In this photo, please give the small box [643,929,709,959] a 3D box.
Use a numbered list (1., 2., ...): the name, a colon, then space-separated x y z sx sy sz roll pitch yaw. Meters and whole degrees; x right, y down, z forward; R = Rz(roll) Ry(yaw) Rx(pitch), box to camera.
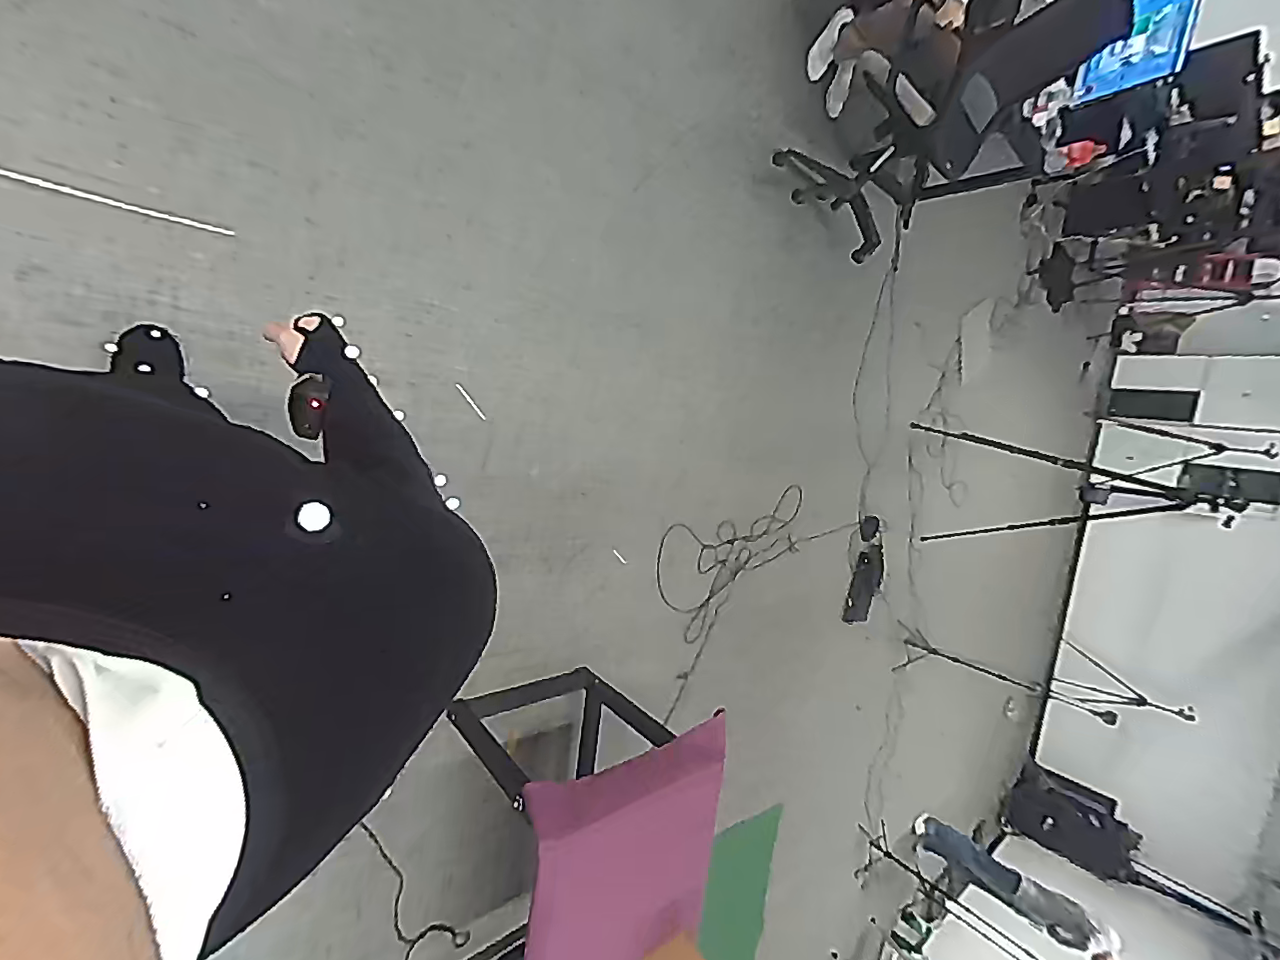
1. small box: 0.099 1.473 1.568 0.179 0.176 0.168 5 97 -41
